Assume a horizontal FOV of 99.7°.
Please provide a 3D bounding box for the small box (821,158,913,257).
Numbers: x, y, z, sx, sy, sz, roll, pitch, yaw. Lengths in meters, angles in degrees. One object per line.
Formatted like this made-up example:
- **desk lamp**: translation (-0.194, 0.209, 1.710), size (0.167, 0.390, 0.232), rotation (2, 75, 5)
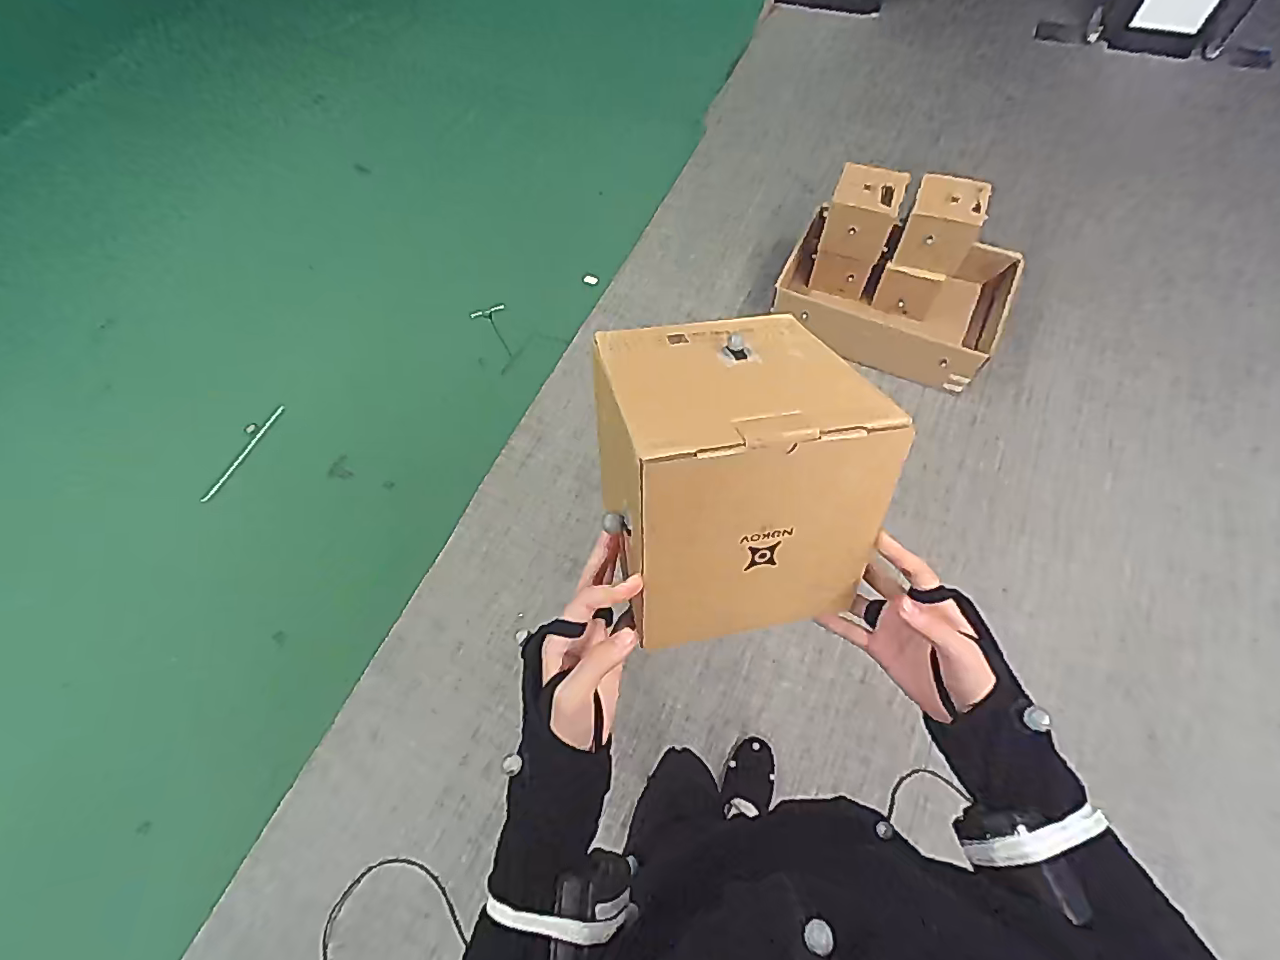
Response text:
- **small box**: translation (0.632, -0.759, 1.520), size (0.179, 0.176, 0.168), rotation (20, 71, 14)

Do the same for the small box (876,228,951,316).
- **small box**: translation (0.831, -0.628, 1.621), size (0.168, 0.176, 0.179), rotation (23, 71, 18)

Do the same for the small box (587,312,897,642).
- **small box**: translation (0.055, -0.008, 0.413), size (0.168, 0.179, 0.176), rotation (-9, 39, -8)

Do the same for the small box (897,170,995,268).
- **small box**: translation (0.827, -0.707, 1.476), size (0.179, 0.176, 0.168), rotation (19, 70, 16)
